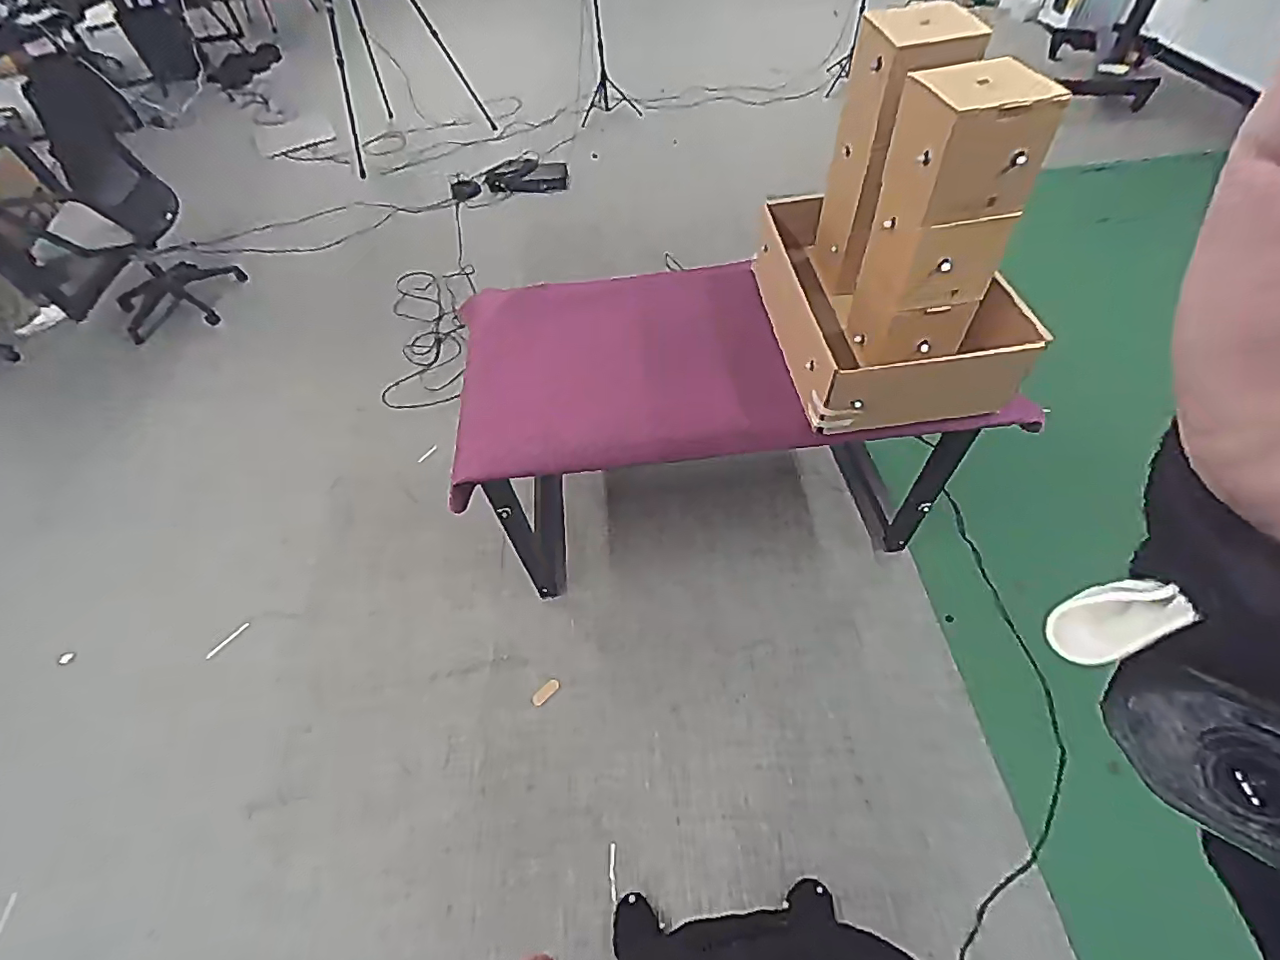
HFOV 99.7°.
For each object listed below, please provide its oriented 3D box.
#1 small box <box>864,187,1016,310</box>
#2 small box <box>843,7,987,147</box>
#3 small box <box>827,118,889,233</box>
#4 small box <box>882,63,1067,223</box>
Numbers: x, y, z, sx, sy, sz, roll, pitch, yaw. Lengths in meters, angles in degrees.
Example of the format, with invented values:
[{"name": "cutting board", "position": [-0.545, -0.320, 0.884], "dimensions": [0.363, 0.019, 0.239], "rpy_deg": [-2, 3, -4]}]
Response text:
[{"name": "small box", "position": [0.536, -0.430, 0.995], "dimensions": [0.168, 0.176, 0.179], "rpy_deg": [-8, 52, 1]}, {"name": "small box", "position": [0.505, -0.752, 1.022], "dimensions": [0.168, 0.176, 0.179], "rpy_deg": [-7, 55, 0]}, {"name": "small box", "position": [0.518, -0.660, 1.160], "dimensions": [0.168, 0.176, 0.179], "rpy_deg": [-9, 55, 1]}, {"name": "small box", "position": [0.517, -0.531, 0.869], "dimensions": [0.168, 0.176, 0.179], "rpy_deg": [-8, 52, 0]}]
